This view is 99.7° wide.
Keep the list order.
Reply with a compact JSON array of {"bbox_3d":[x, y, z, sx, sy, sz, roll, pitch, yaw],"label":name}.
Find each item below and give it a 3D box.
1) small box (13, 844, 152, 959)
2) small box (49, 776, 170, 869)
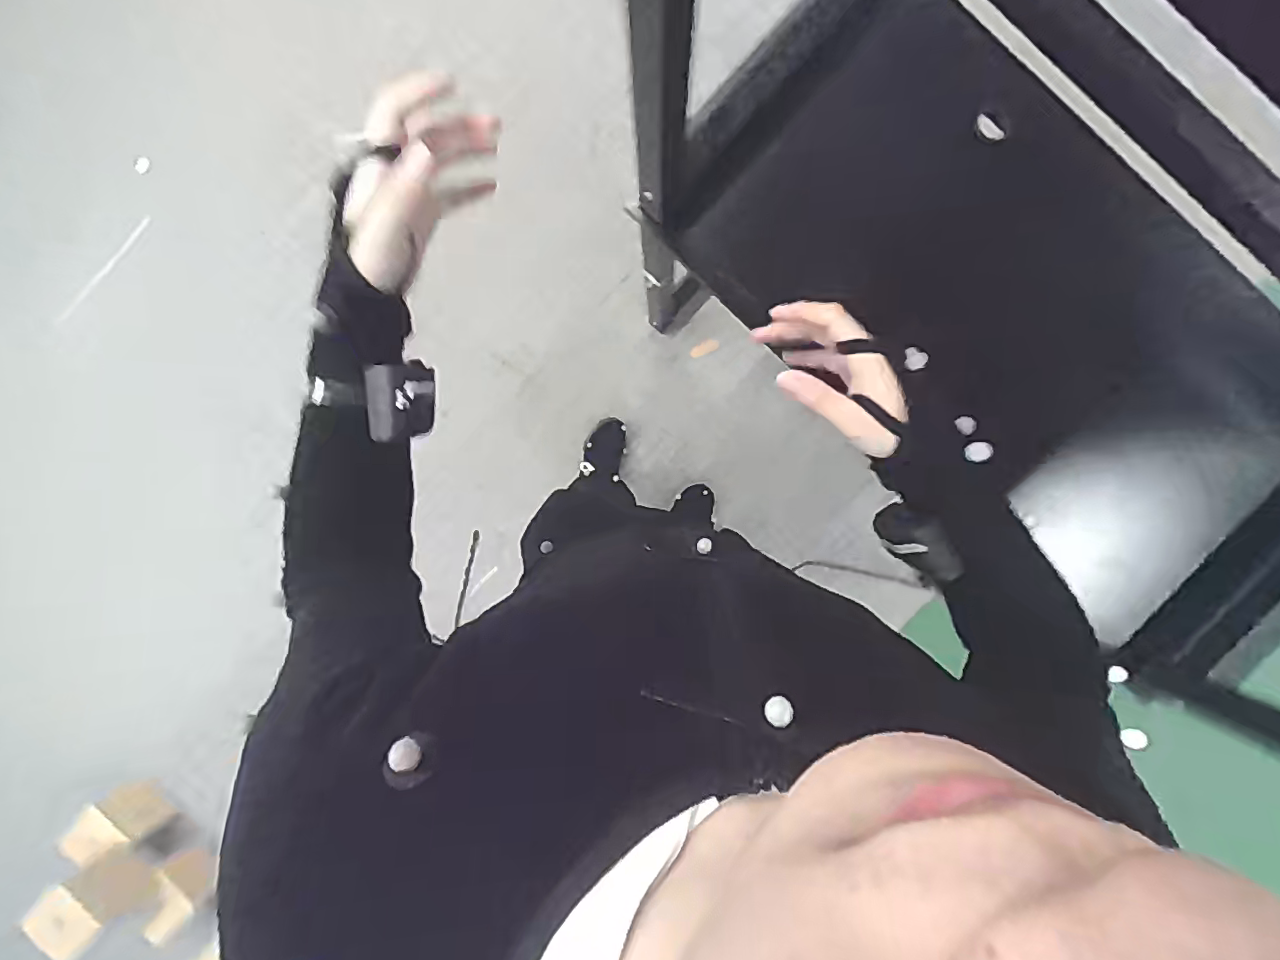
[{"bbox_3d":[-1.513,1.157,1.480,0.179,0.176,0.168,43,92,2],"label":"small box"},{"bbox_3d":[-1.597,1.052,1.644,0.179,0.176,0.168,-45,90,3],"label":"small box"}]
